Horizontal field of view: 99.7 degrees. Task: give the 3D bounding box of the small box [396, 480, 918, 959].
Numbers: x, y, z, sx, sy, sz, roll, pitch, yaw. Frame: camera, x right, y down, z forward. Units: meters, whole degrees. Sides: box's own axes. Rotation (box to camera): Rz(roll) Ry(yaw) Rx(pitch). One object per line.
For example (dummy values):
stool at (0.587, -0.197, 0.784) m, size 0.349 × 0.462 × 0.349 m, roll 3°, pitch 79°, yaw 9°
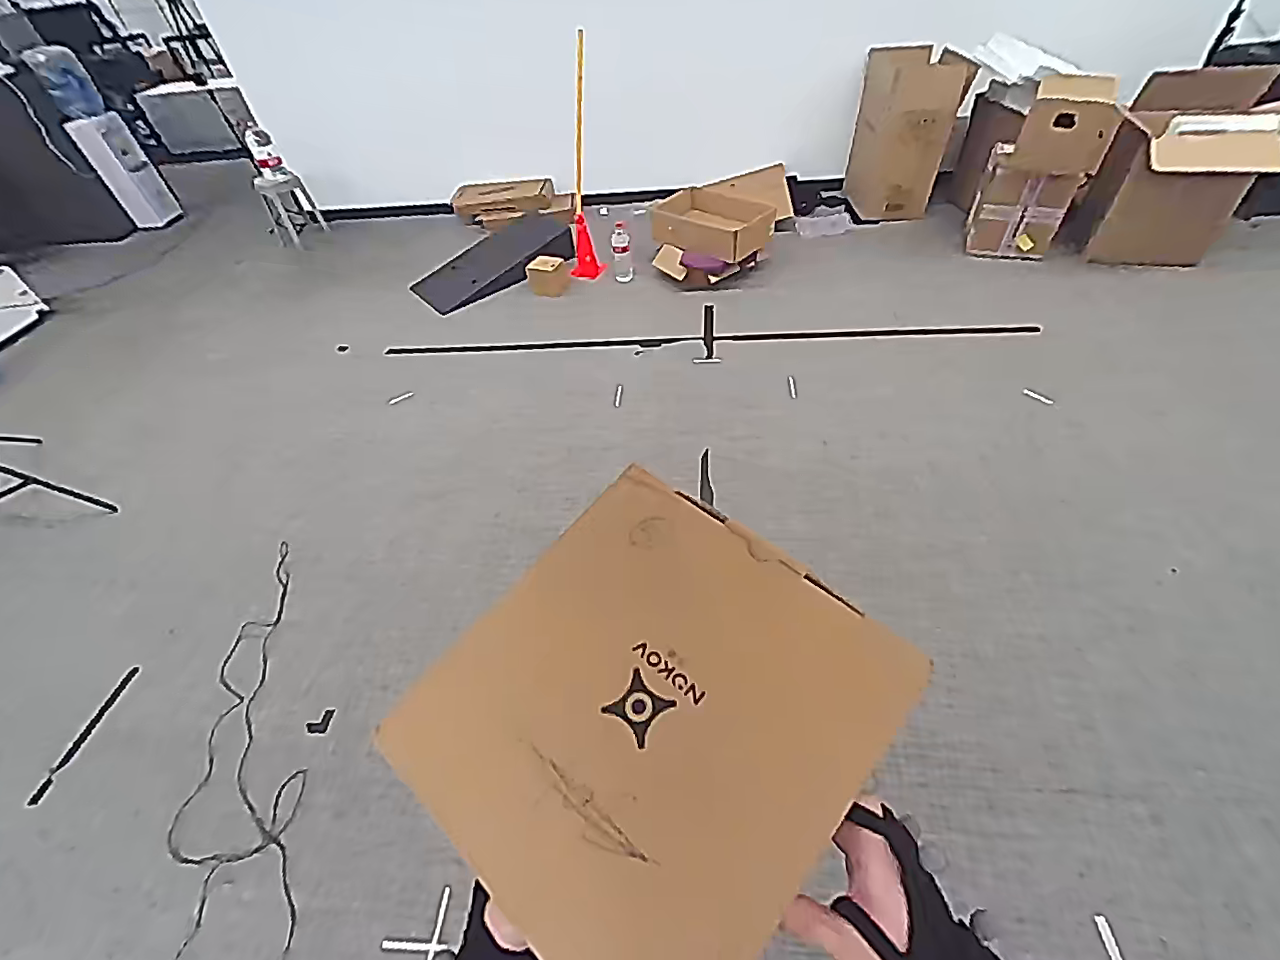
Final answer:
small box at (0.015, 0.139, 0.303) m, size 0.168 × 0.176 × 0.179 m, roll 32°, pitch 71°, yaw 25°
